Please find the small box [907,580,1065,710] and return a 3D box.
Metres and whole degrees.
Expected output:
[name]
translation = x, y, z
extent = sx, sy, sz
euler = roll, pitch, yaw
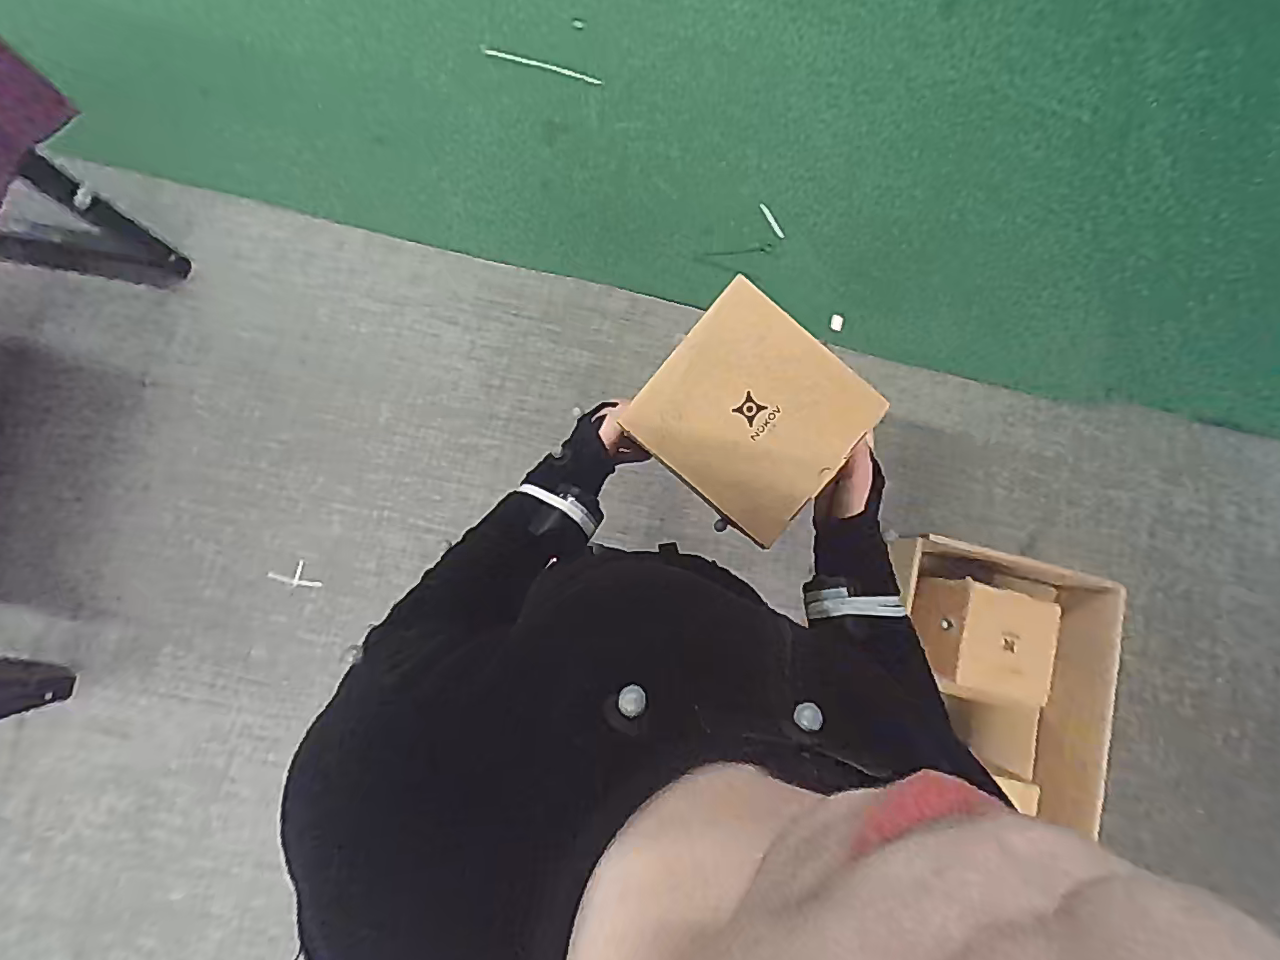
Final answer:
[small box]
translation = 0.617, 0.288, 0.985
extent = 0.168, 0.176, 0.179
euler = 16, 83, -2
